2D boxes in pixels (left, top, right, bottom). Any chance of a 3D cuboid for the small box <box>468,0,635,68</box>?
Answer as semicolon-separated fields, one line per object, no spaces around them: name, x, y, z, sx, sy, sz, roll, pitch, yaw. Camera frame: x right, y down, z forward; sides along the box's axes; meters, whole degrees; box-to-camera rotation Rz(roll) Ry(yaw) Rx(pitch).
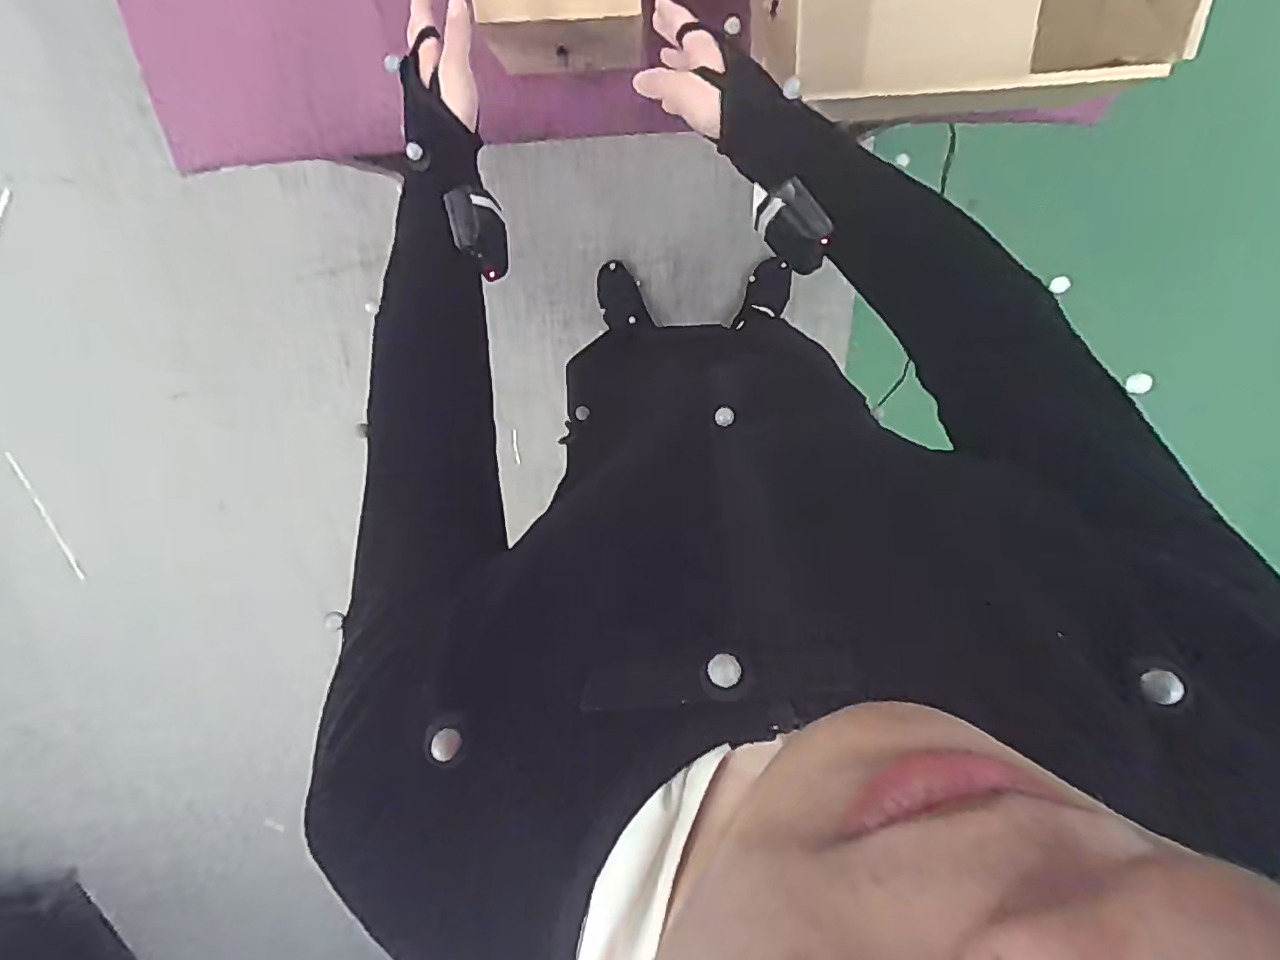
small box;-0.089;-0.559;0.569;0.168;0.176;0.179;-3;114;-1

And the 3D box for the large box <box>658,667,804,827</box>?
large box;0.319;0.982;2.006;0.408;0.320;0.320;-34;112;12
